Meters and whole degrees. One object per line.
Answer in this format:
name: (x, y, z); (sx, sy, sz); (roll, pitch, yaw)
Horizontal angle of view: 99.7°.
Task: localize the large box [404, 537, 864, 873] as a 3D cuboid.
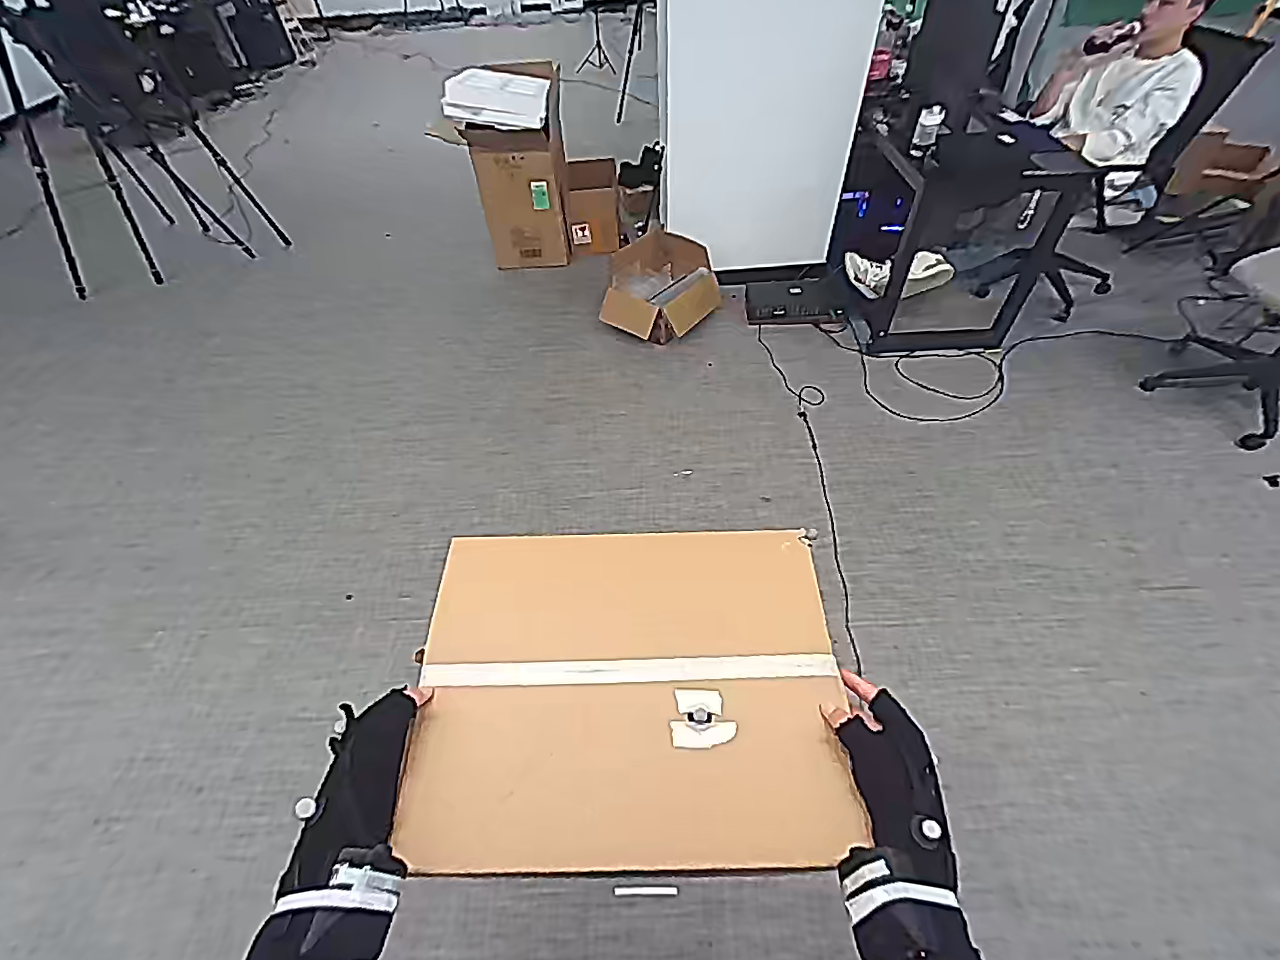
large box: (-0.008, 0.284, 0.665); (0.408, 0.320, 0.320); (-1, 54, 0)
